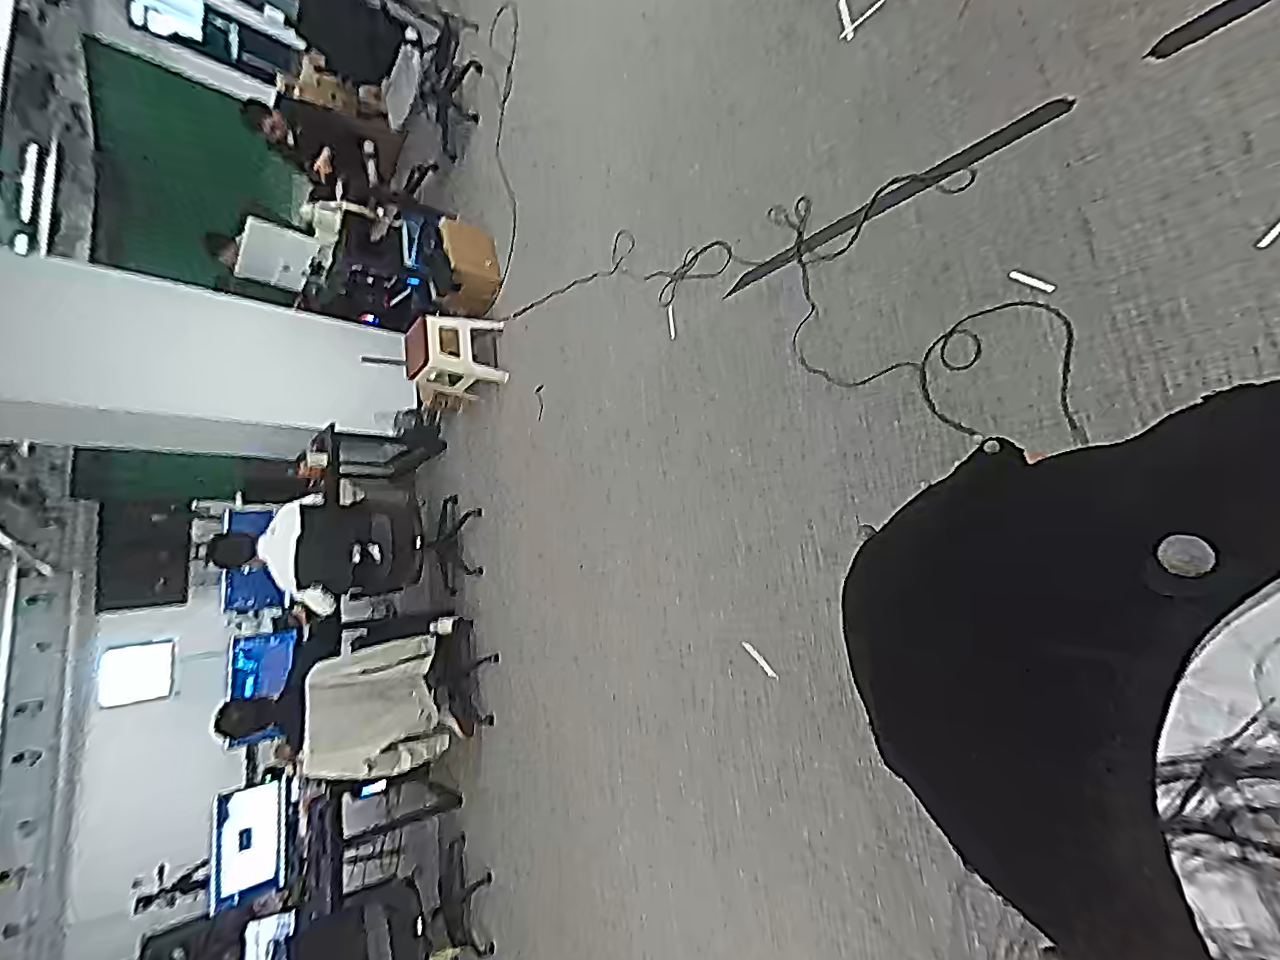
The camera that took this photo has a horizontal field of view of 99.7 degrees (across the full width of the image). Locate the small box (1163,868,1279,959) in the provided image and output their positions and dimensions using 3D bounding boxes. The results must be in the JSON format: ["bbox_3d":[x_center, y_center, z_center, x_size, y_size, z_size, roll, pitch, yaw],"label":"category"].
[{"bbox_3d":[0.731,0.584,0.611,0.168,0.176,0.179,-17,73,49],"label":"small box"}]
